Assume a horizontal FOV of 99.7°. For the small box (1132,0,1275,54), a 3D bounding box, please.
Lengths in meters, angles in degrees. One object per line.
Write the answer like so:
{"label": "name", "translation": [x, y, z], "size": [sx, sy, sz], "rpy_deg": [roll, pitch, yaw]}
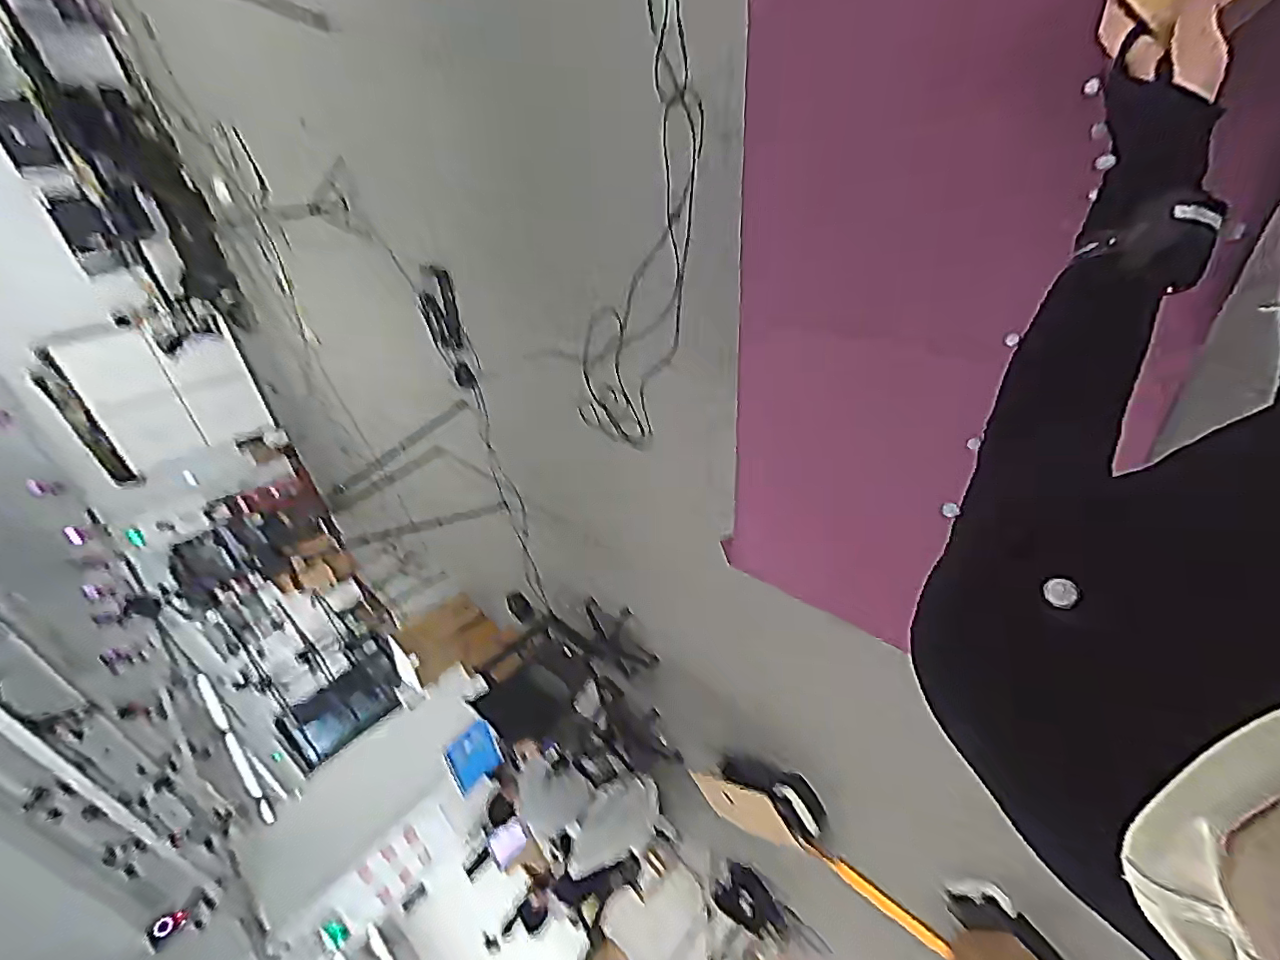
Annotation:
{"label": "small box", "translation": [0.477, -0.472, 0.405], "size": [0.168, 0.176, 0.179], "rpy_deg": [56, 150, 5]}
